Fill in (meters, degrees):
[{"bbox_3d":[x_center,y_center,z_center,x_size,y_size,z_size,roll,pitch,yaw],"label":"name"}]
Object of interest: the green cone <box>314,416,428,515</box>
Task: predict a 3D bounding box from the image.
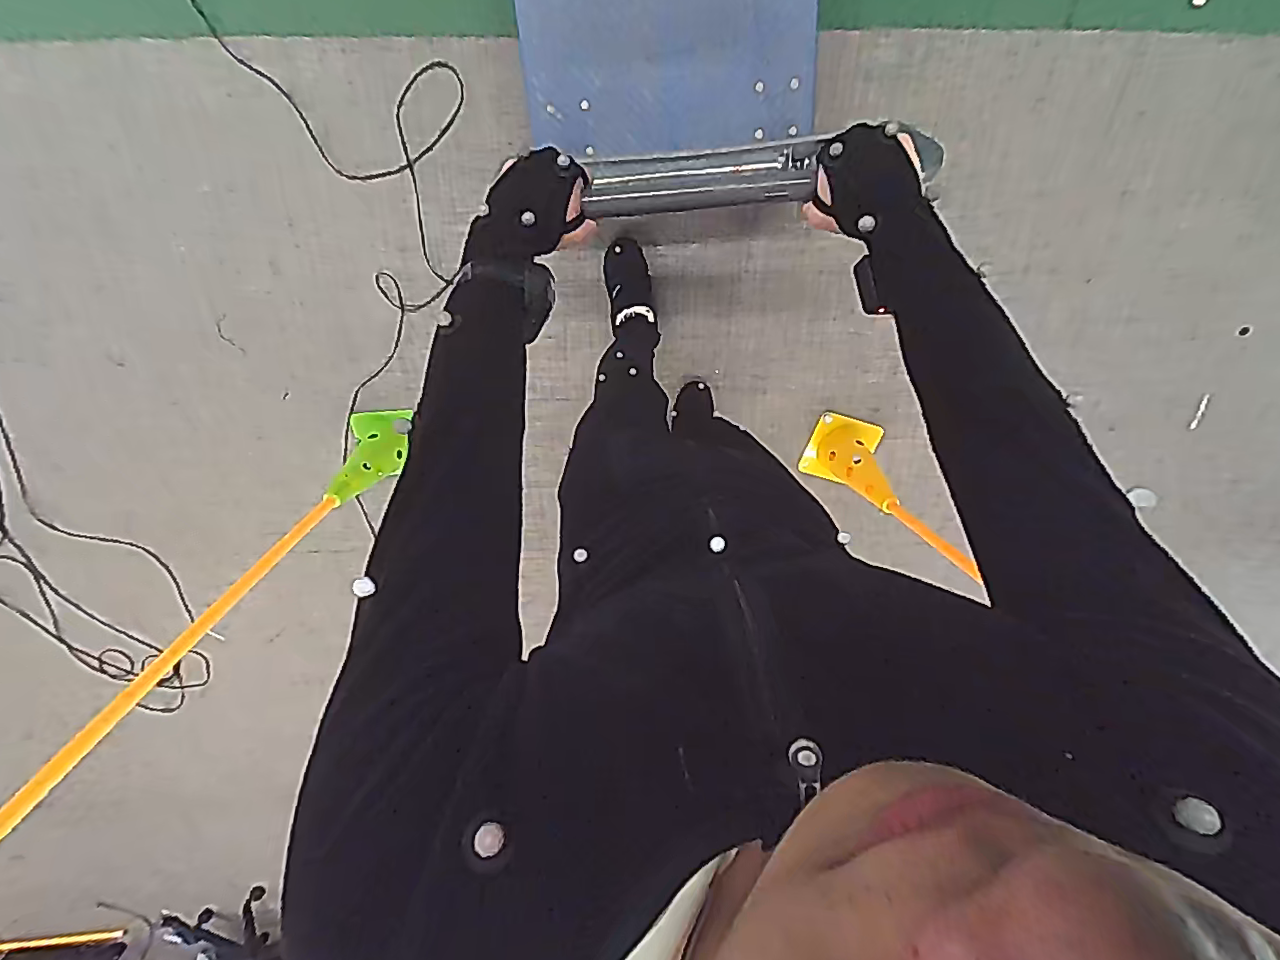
[{"bbox_3d":[-0.738,-0.017,1.427,0.202,0.368,0.200,-3,115,3],"label":"green cone"}]
